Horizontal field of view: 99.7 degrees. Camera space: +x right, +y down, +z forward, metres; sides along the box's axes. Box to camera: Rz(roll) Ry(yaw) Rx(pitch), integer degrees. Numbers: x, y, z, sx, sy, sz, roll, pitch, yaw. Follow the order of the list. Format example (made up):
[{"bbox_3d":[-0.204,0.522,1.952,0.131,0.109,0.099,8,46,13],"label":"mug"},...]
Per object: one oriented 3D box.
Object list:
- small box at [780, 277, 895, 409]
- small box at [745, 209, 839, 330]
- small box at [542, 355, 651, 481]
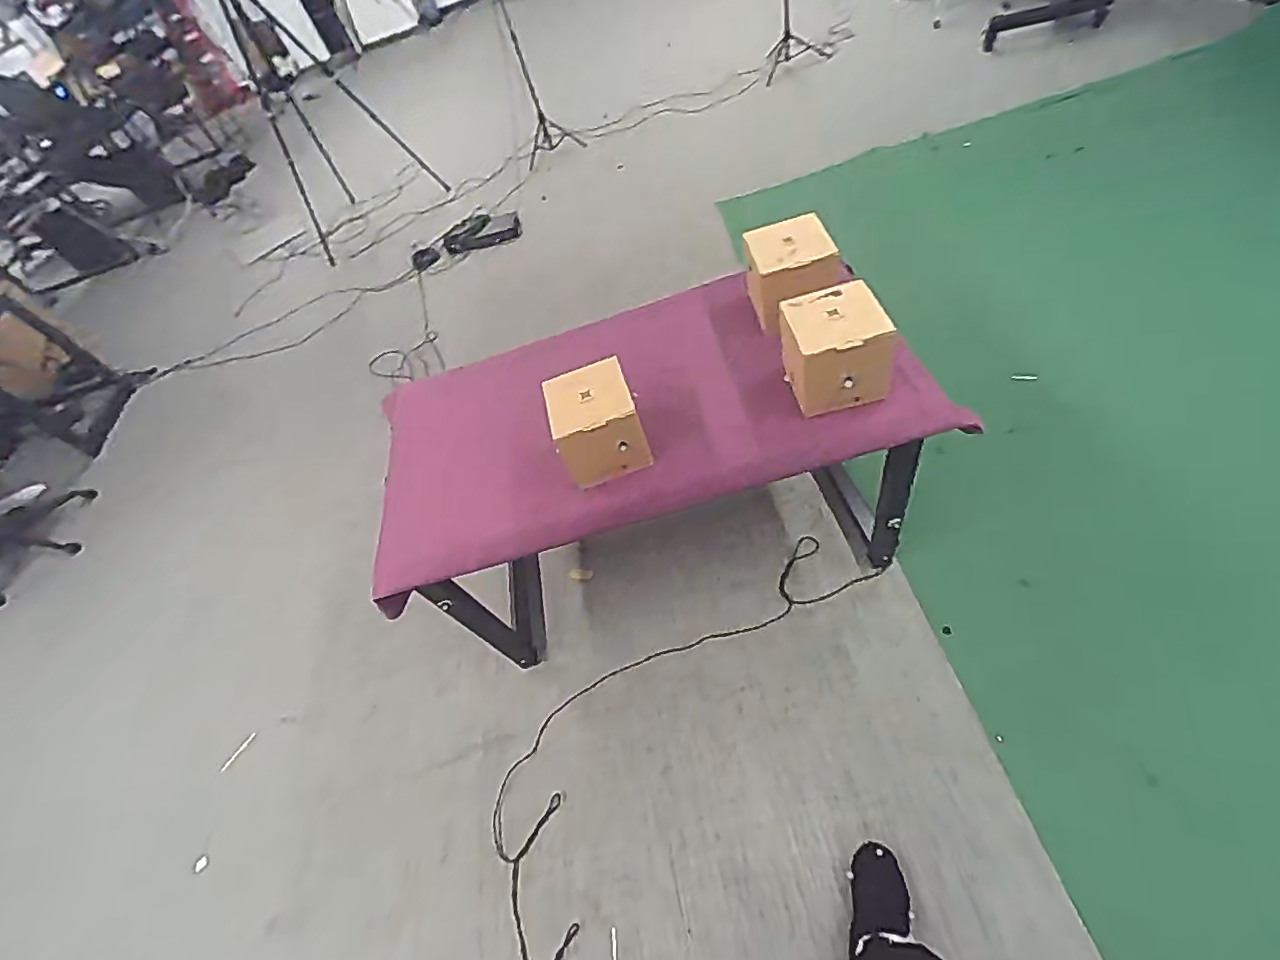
[{"bbox_3d":[0.382,-0.259,1.064,0.168,0.176,0.179,-13,52,8],"label":"small box"},{"bbox_3d":[0.343,-0.475,1.233,0.168,0.176,0.179,-13,53,9],"label":"small box"},{"bbox_3d":[-0.086,-0.119,1.112,0.168,0.176,0.179,-19,51,3],"label":"small box"}]
